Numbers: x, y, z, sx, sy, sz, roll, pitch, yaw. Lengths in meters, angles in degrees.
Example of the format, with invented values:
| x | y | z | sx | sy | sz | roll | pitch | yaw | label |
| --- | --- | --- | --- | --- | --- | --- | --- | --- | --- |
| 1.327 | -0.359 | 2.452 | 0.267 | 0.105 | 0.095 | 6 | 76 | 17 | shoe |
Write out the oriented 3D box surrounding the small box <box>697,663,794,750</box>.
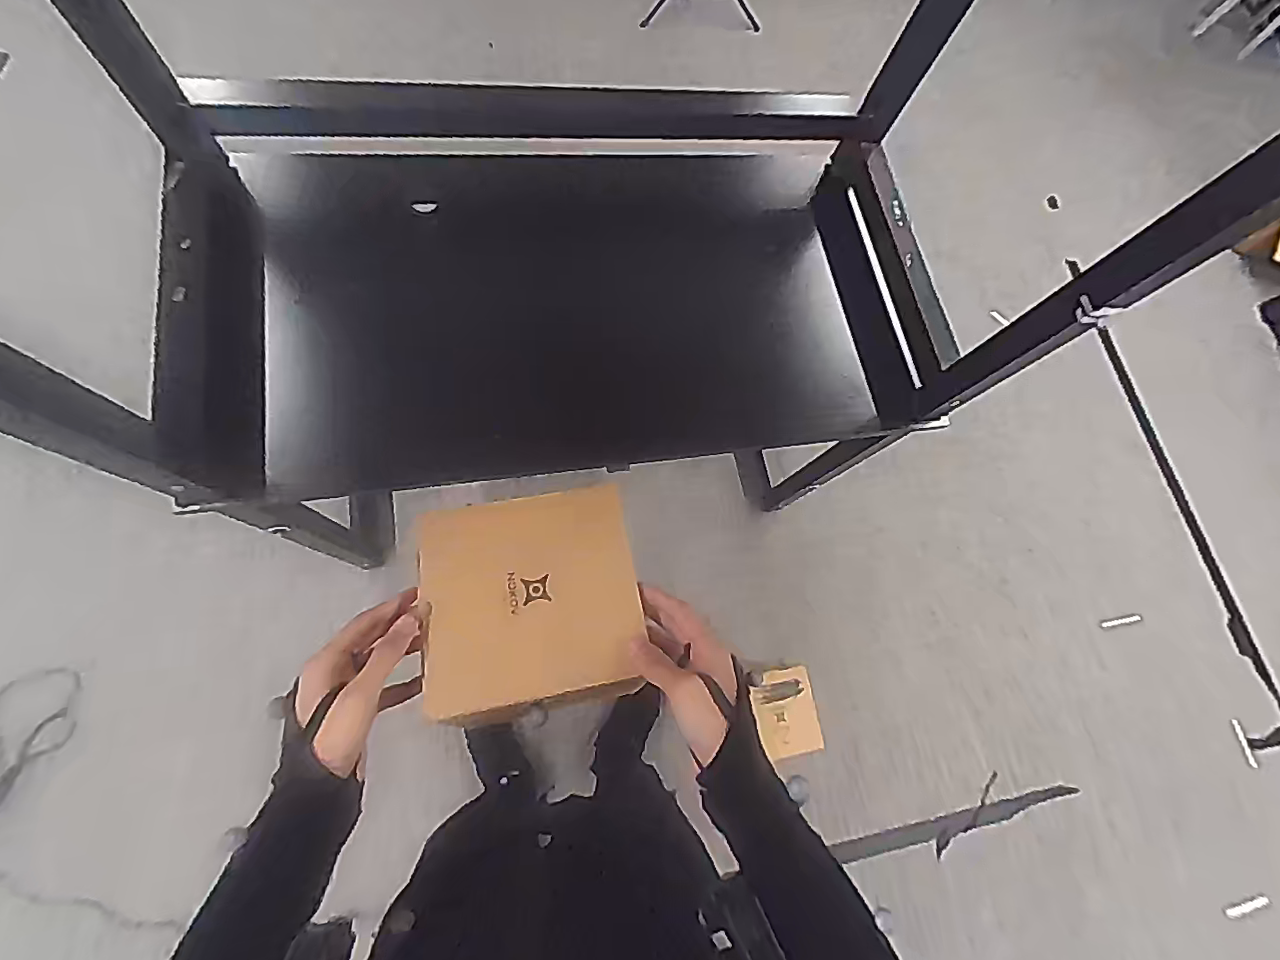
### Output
| x | y | z | sx | sy | sz | roll | pitch | yaw | label |
| --- | --- | --- | --- | --- | --- | --- | --- | --- | --- |
| 0.263 | 0.570 | 1.384 | 0.179 | 0.176 | 0.168 | -9 | 75 | -11 | small box |
